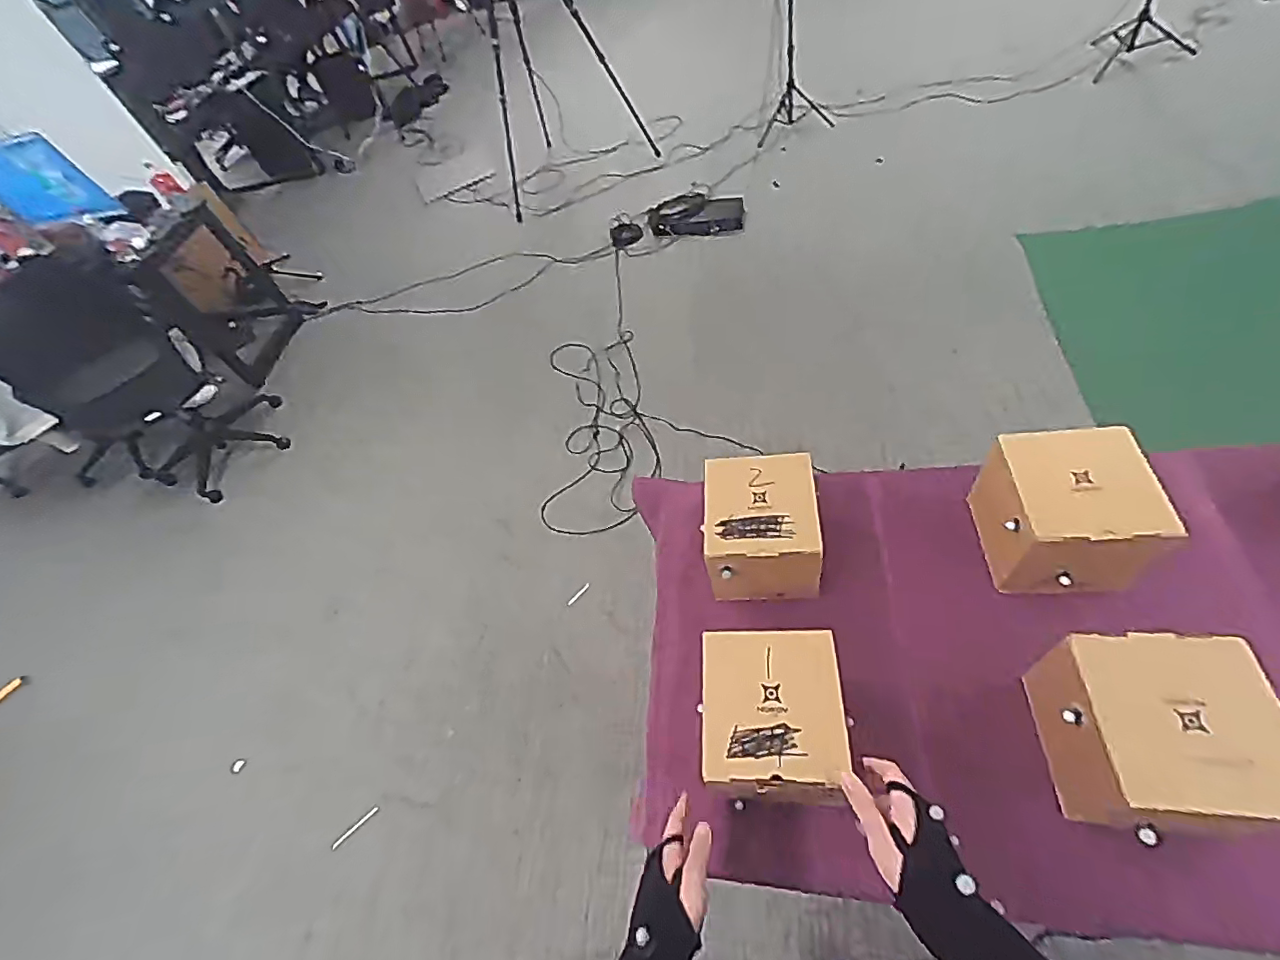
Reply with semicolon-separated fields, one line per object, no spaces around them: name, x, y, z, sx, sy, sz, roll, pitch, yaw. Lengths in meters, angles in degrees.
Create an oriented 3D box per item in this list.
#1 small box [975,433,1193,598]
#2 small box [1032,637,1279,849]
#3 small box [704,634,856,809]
small box;0.612;0.054;0.780;0.168;0.176;0.179;-3;55;12
small box;0.579;0.295;0.608;0.168;0.176;0.179;-2;53;15
small box;0.176;0.313;0.699;0.168;0.176;0.179;-4;52;12
